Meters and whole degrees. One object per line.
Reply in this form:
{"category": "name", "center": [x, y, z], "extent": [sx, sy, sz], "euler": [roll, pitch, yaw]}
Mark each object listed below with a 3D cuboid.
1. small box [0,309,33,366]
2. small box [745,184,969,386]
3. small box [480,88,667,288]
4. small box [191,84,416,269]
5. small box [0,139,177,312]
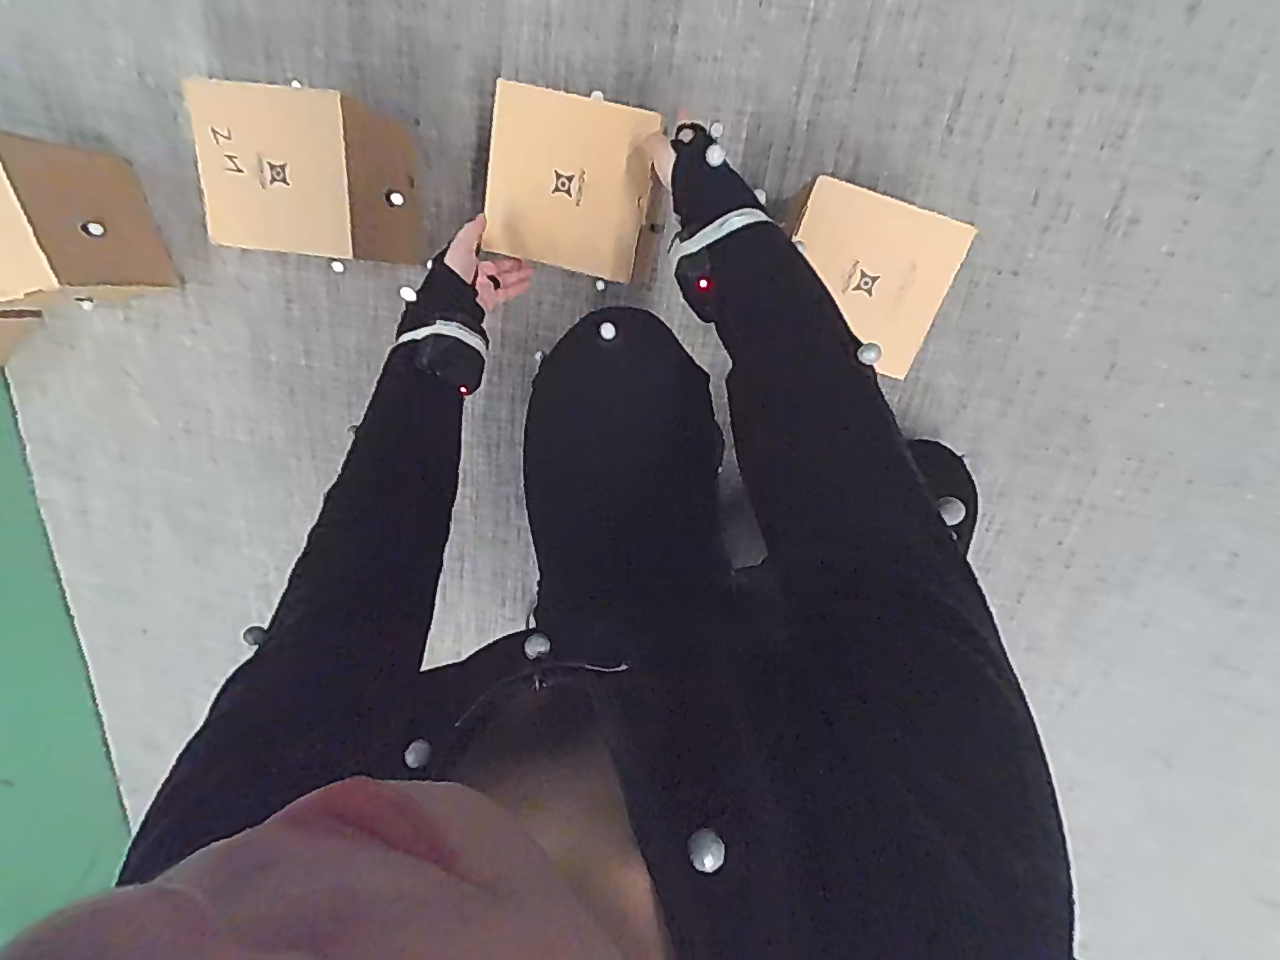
{"category": "small box", "center": [-1.070, -0.247, 0.785], "extent": [0.179, 0.176, 0.168], "euler": [-34, 102, 15]}
{"category": "small box", "center": [0.239, -0.230, 0.655], "extent": [0.179, 0.176, 0.168], "euler": [19, 111, -1]}
{"category": "small box", "center": [-0.071, -0.333, 0.652], "extent": [0.179, 0.176, 0.168], "euler": [13, 110, 0]}
{"category": "small box", "center": [-0.395, -0.360, 0.673], "extent": [0.179, 0.176, 0.168], "euler": [8, 109, 3]}
{"category": "small box", "center": [-0.789, -0.330, 0.726], "extent": [0.168, 0.176, 0.179], "euler": [-7, 108, 9]}
